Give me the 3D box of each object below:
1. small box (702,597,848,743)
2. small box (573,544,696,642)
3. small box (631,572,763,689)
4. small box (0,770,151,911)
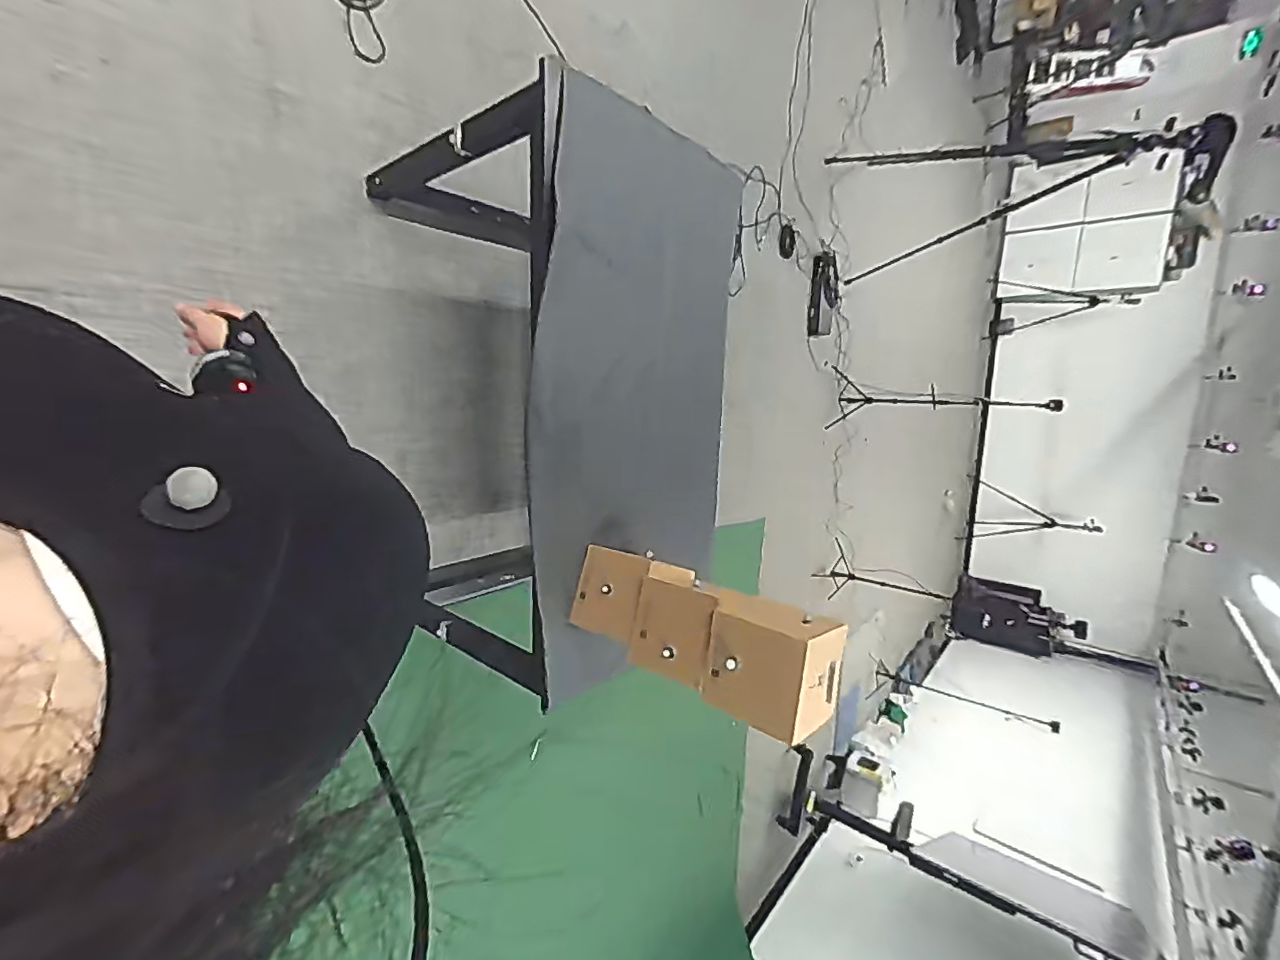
[{"bbox_3d":[0.228,0.303,0.911,0.179,0.176,0.168,5,94,-51],"label":"small box"},{"bbox_3d":[-0.012,0.236,1.124,0.179,0.176,0.168,23,80,-52],"label":"small box"},{"bbox_3d":[0.105,0.275,1.017,0.179,0.176,0.168,15,87,-52],"label":"small box"},{"bbox_3d":[-1.120,0.695,1.047,0.168,0.176,0.179,-57,135,-26],"label":"small box"}]
